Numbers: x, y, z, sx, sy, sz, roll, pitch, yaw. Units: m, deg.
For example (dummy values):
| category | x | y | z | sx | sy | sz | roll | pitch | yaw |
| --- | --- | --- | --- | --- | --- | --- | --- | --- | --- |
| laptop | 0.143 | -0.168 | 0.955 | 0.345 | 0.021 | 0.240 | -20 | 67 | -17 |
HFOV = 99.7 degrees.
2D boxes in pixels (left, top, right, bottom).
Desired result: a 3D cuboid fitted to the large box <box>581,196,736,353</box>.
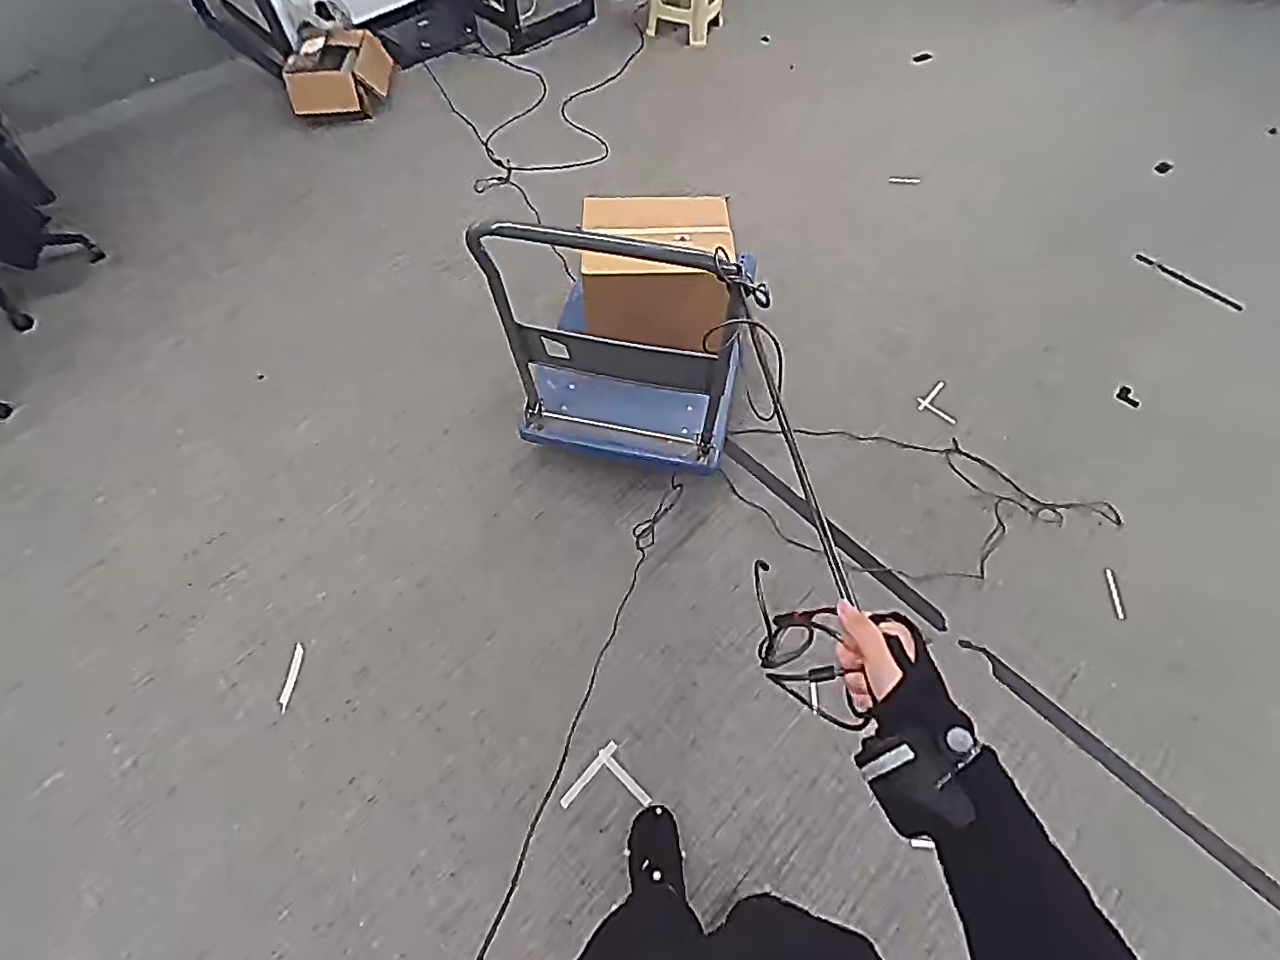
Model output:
| category | x | y | z | sx | sy | sz | roll | pitch | yaw |
| --- | --- | --- | --- | --- | --- | --- | --- | --- | --- |
| large box | 0.040 | -0.589 | 1.572 | 0.408 | 0.320 | 0.320 | -1 | 62 | -1 |
